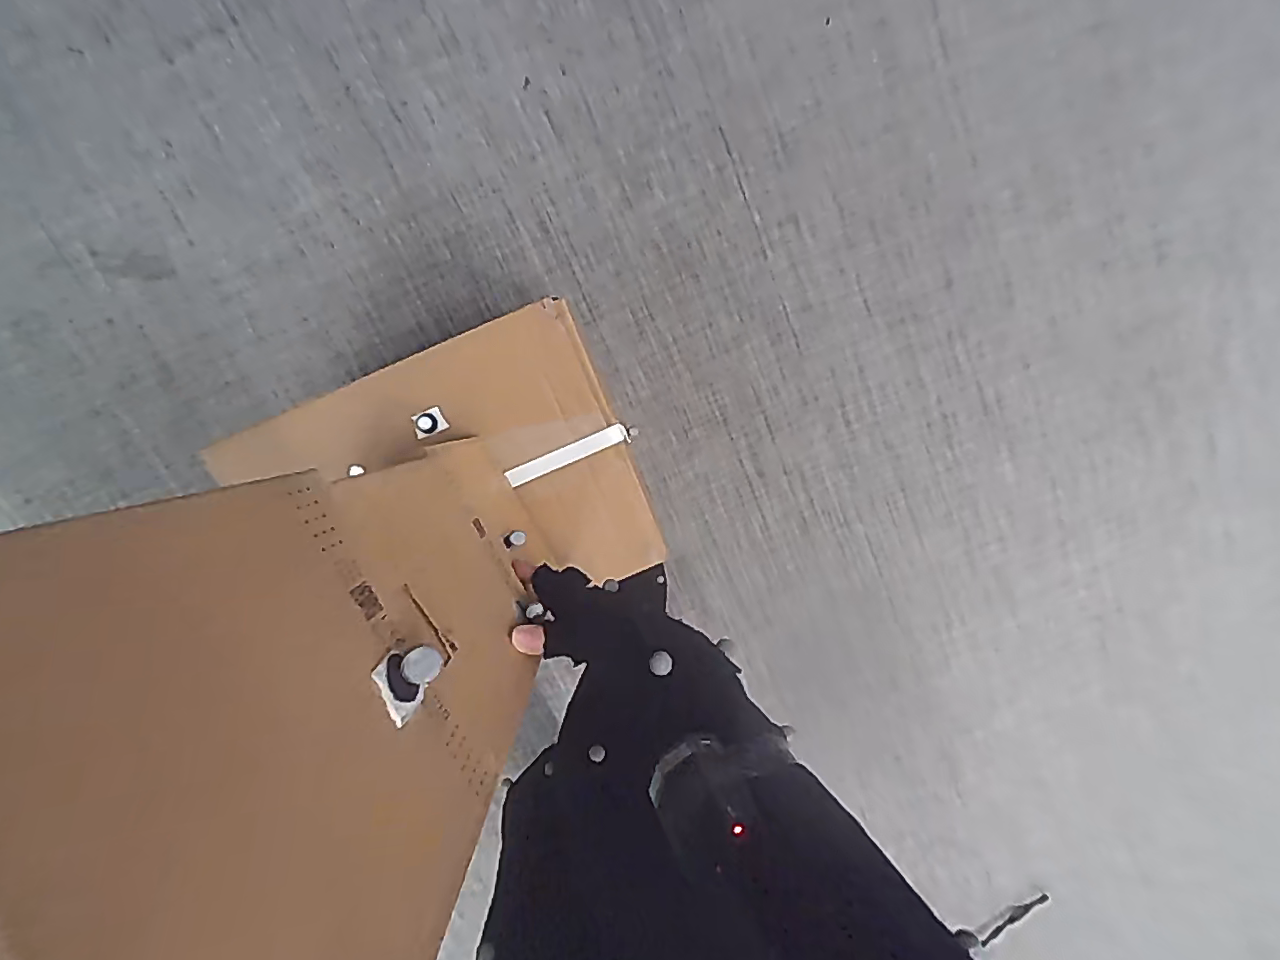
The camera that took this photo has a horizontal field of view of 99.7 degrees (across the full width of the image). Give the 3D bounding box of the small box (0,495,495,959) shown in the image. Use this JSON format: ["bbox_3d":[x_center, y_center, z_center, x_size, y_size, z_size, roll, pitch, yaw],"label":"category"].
[{"bbox_3d":[-0.176,0.124,0.179,0.179,0.176,0.168,-29,99,2],"label":"small box"}]

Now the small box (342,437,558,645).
[{"bbox_3d":[-0.192,0.078,0.504,0.168,0.176,0.179,-31,102,3],"label":"small box"}]

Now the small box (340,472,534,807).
[{"bbox_3d":[-0.181,0.109,0.340,0.179,0.176,0.168,-27,98,4],"label":"small box"}]
